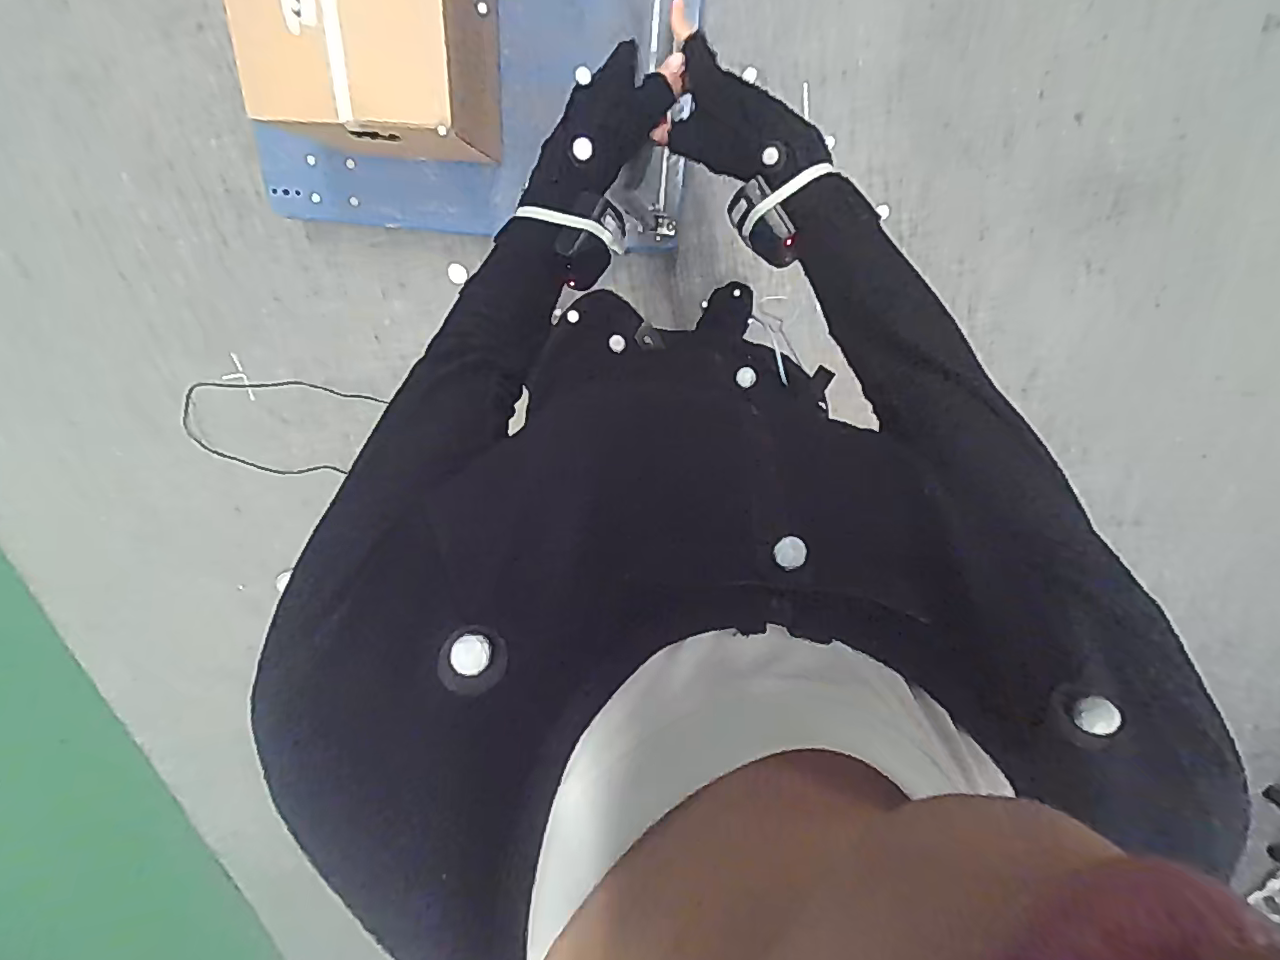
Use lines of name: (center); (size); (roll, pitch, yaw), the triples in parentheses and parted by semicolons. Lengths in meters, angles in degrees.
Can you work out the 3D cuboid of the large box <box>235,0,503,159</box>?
large box: (-0.422, -0.786, 0.887); (0.320, 0.320, 0.408); (3, 112, 1)
